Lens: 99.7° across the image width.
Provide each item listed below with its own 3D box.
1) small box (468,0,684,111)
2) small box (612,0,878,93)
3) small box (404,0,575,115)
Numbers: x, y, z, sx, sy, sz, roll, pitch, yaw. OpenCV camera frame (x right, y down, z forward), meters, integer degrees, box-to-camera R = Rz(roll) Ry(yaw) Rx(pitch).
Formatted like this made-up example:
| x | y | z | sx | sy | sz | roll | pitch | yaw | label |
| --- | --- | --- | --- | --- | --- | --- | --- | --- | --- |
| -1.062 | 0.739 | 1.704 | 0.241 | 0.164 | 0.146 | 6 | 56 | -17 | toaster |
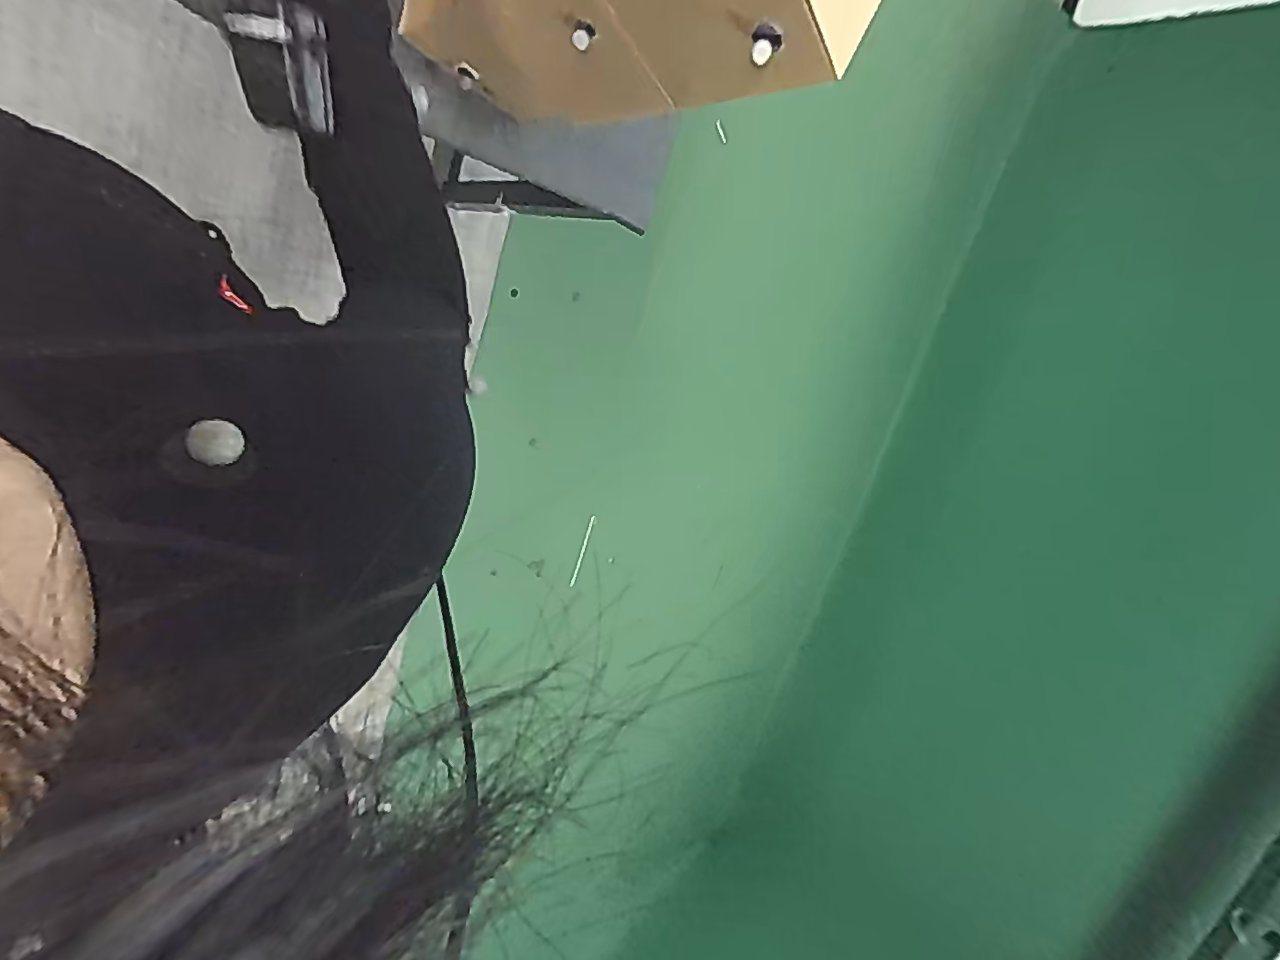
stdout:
| x | y | z | sx | sy | sz | roll | pitch | yaw | label |
| --- | --- | --- | --- | --- | --- | --- | --- | --- | --- |
| -0.035 | -0.472 | 0.491 | 0.179 | 0.176 | 0.168 | 24 | 93 | -48 | small box |
| 0.076 | -0.415 | 0.383 | 0.179 | 0.176 | 0.168 | 27 | 91 | -47 | small box |
| -0.137 | -0.543 | 0.596 | 0.168 | 0.176 | 0.179 | 9 | 105 | -46 | small box |
